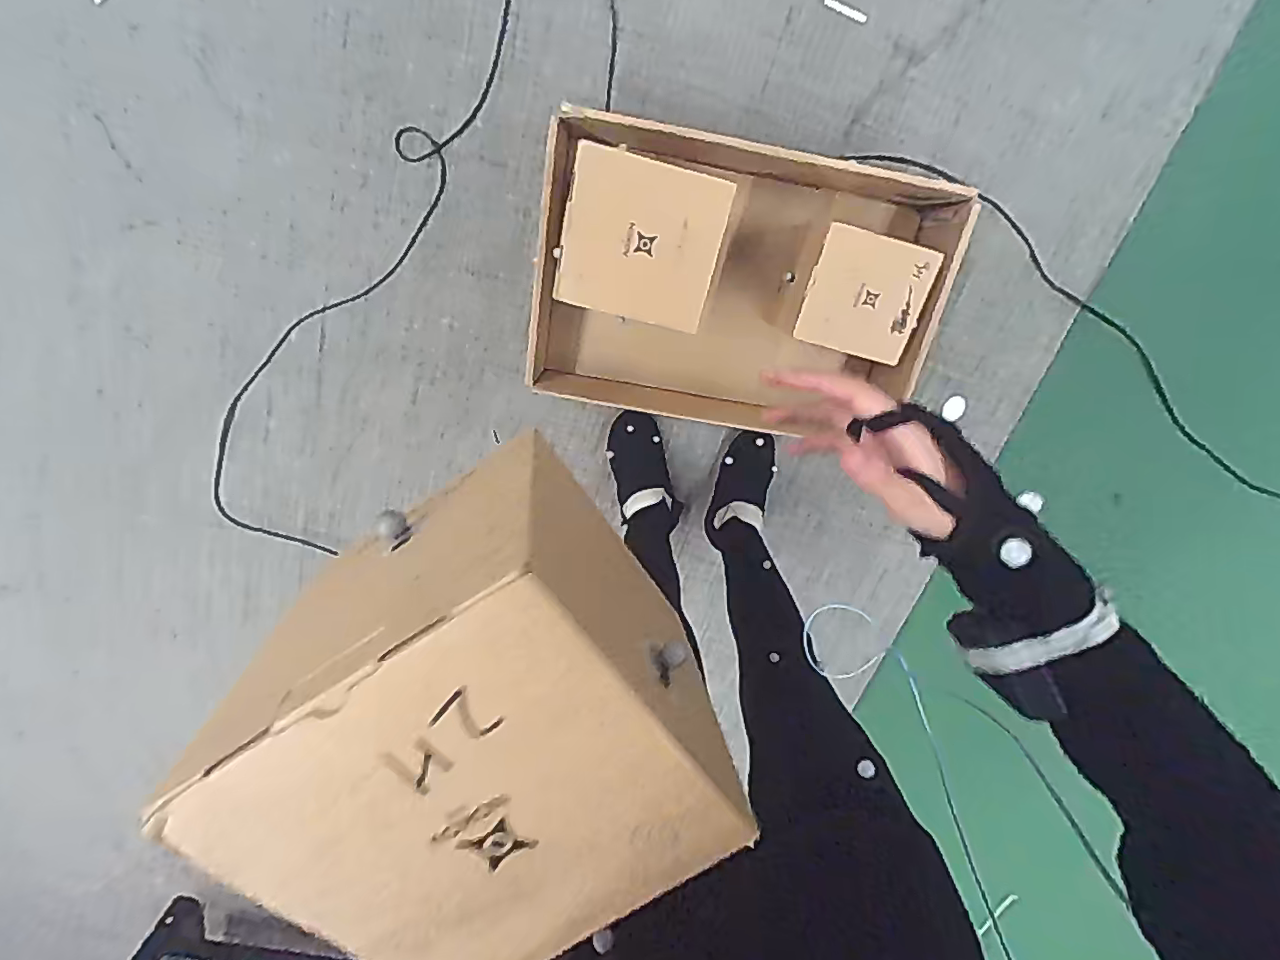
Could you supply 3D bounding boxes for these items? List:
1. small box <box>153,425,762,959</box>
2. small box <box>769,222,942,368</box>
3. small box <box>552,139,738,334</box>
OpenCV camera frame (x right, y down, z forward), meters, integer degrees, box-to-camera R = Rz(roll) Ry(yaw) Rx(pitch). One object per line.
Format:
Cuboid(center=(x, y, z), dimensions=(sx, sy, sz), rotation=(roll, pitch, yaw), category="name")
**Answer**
Cuboid(center=(-0.067, 0.097, 0.284), dimensions=(0.168, 0.176, 0.179), rotation=(-32, 113, 2), category="small box")
Cuboid(center=(0.324, -0.292, 0.859), dimensions=(0.179, 0.176, 0.168), rotation=(15, 111, -6), category="small box")
Cuboid(center=(0.000, -0.295, 0.675), dimensions=(0.179, 0.176, 0.168), rotation=(13, 113, -8), category="small box")
